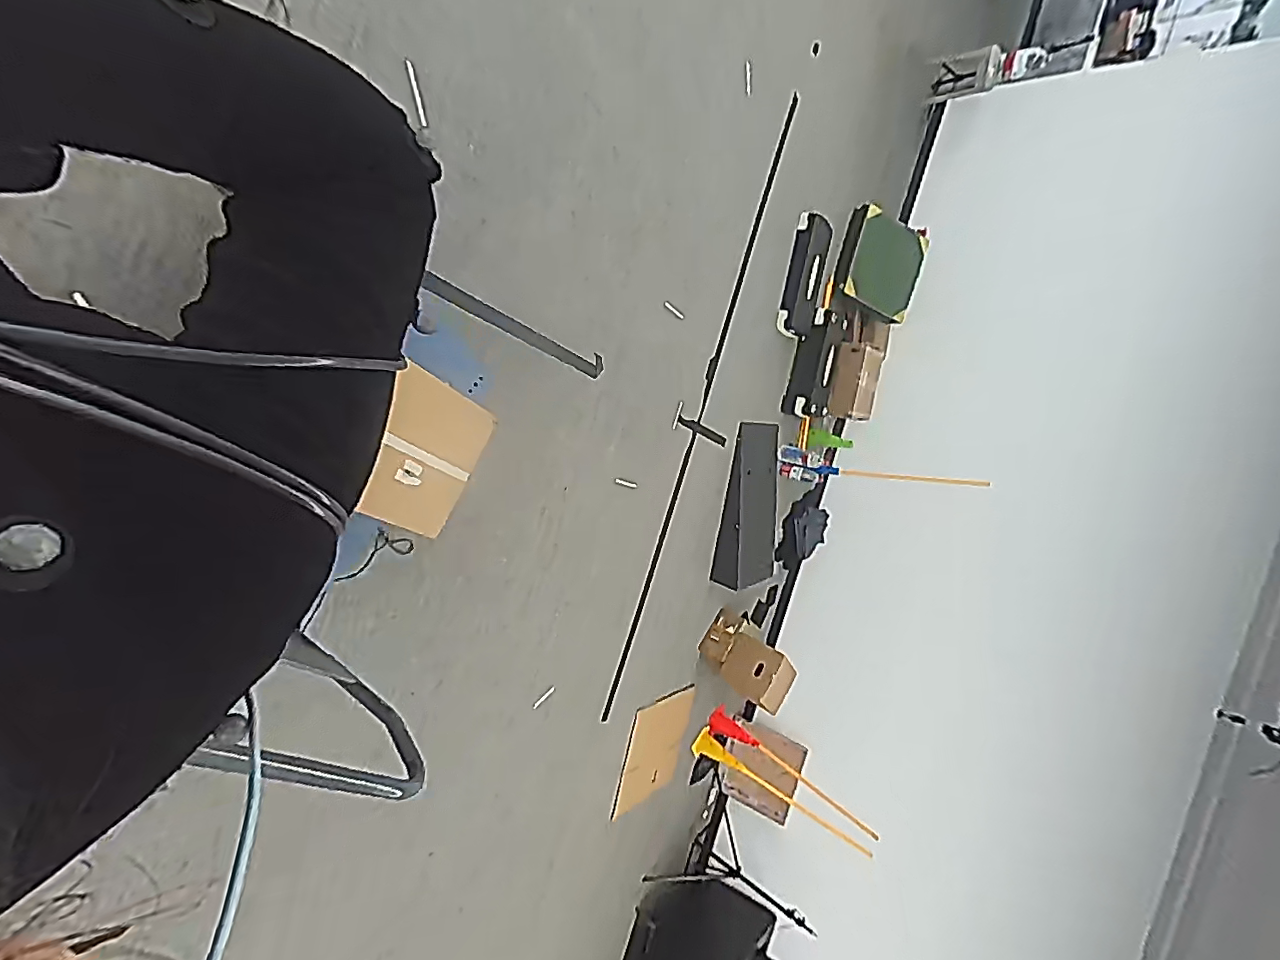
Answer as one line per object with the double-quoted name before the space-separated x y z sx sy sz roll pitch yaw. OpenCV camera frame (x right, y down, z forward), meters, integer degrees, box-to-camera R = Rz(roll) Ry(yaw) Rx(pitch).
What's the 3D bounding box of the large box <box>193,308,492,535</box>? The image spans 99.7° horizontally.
"large box" -0.613 -0.118 1.154 0.408 0.320 0.320 38 75 -52
